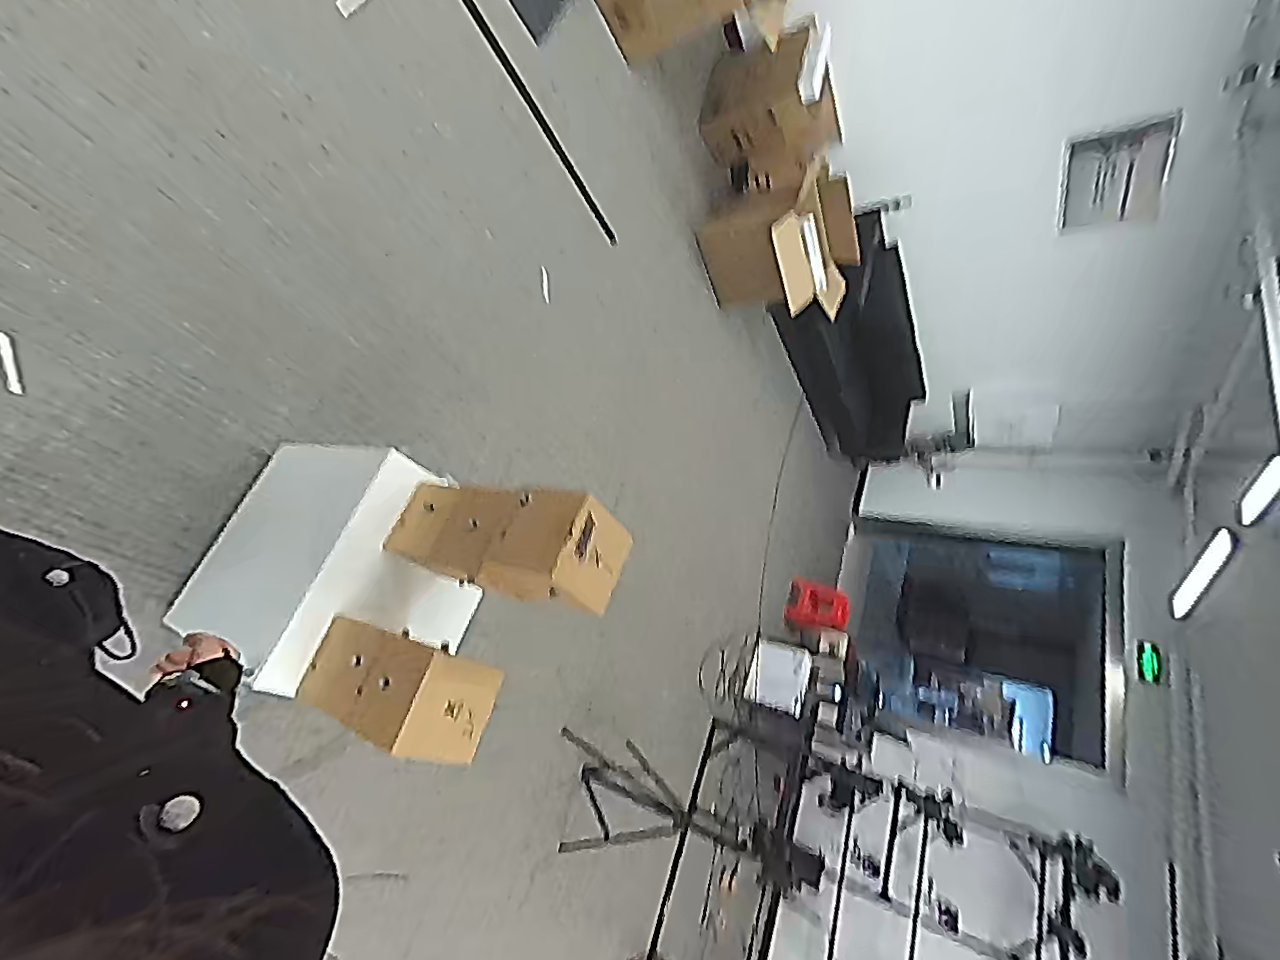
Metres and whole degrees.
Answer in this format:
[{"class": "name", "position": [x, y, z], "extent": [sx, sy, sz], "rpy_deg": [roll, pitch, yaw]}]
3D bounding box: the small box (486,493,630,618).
[{"class": "small box", "position": [-0.151, 0.135, 1.008], "extent": [0.179, 0.176, 0.168], "rpy_deg": [52, 52, -45]}]

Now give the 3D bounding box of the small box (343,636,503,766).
[{"class": "small box", "position": [-0.390, 0.393, 0.975], "extent": [0.179, 0.176, 0.168], "rpy_deg": [45, 57, -48]}]

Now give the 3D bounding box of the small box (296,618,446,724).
[{"class": "small box", "position": [-0.526, 0.384, 1.069], "extent": [0.179, 0.176, 0.168], "rpy_deg": [44, 57, -48]}]

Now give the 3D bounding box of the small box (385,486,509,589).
[{"class": "small box", "position": [-0.421, 0.123, 1.196], "extent": [0.179, 0.176, 0.168], "rpy_deg": [48, 56, -47]}]
